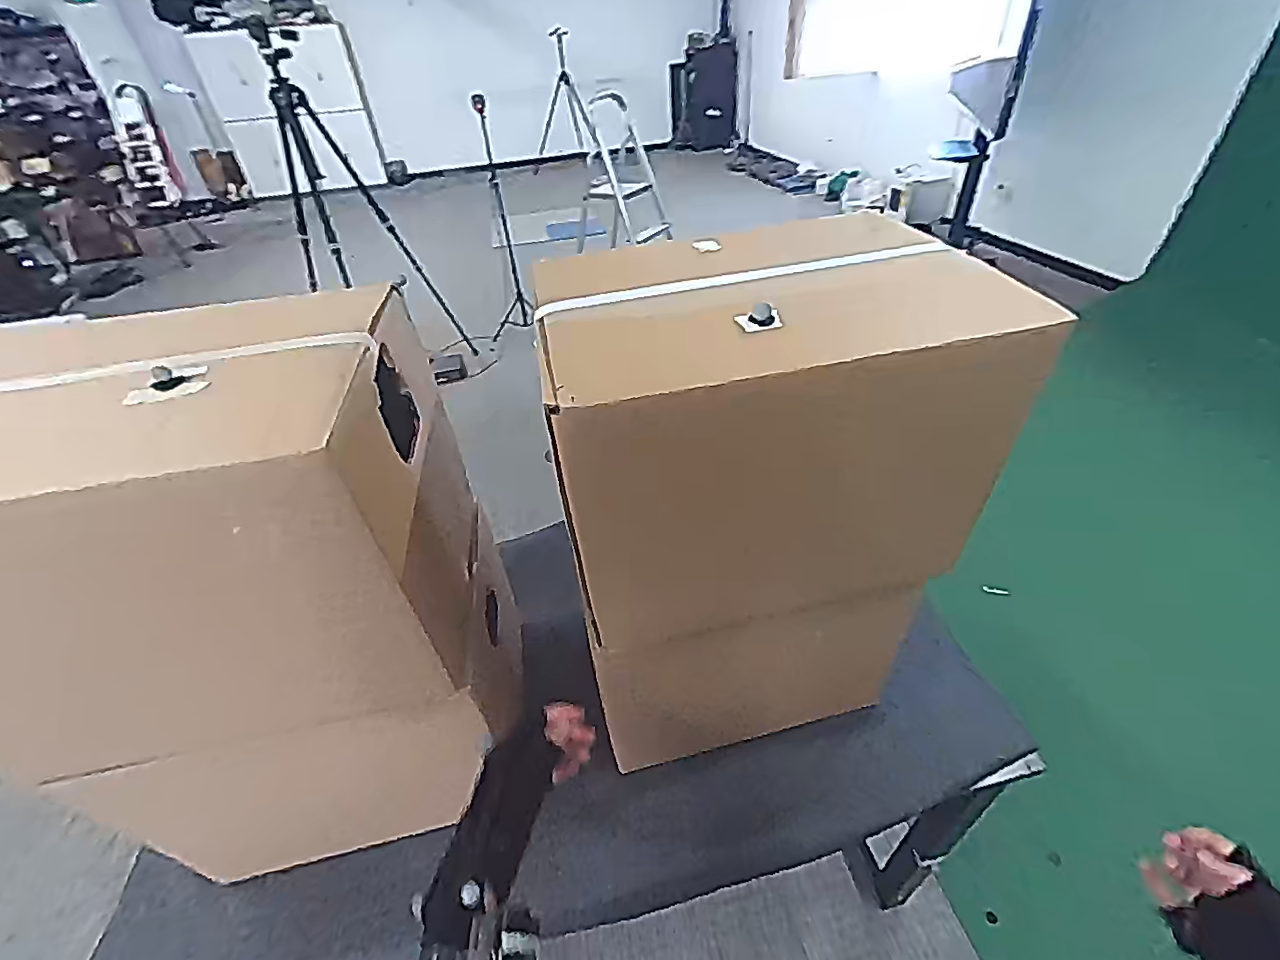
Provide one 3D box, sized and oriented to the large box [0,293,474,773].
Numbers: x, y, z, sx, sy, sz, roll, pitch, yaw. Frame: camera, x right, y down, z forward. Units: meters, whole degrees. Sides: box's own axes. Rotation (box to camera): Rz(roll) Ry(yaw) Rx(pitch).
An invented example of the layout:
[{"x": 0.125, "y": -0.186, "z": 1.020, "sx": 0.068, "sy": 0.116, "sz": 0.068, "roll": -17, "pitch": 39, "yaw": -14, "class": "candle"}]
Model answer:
[{"x": -0.410, "y": 0.035, "z": 0.545, "sx": 0.408, "sy": 0.320, "sz": 0.320, "roll": -9, "pitch": 41, "yaw": -7, "class": "large box"}]
